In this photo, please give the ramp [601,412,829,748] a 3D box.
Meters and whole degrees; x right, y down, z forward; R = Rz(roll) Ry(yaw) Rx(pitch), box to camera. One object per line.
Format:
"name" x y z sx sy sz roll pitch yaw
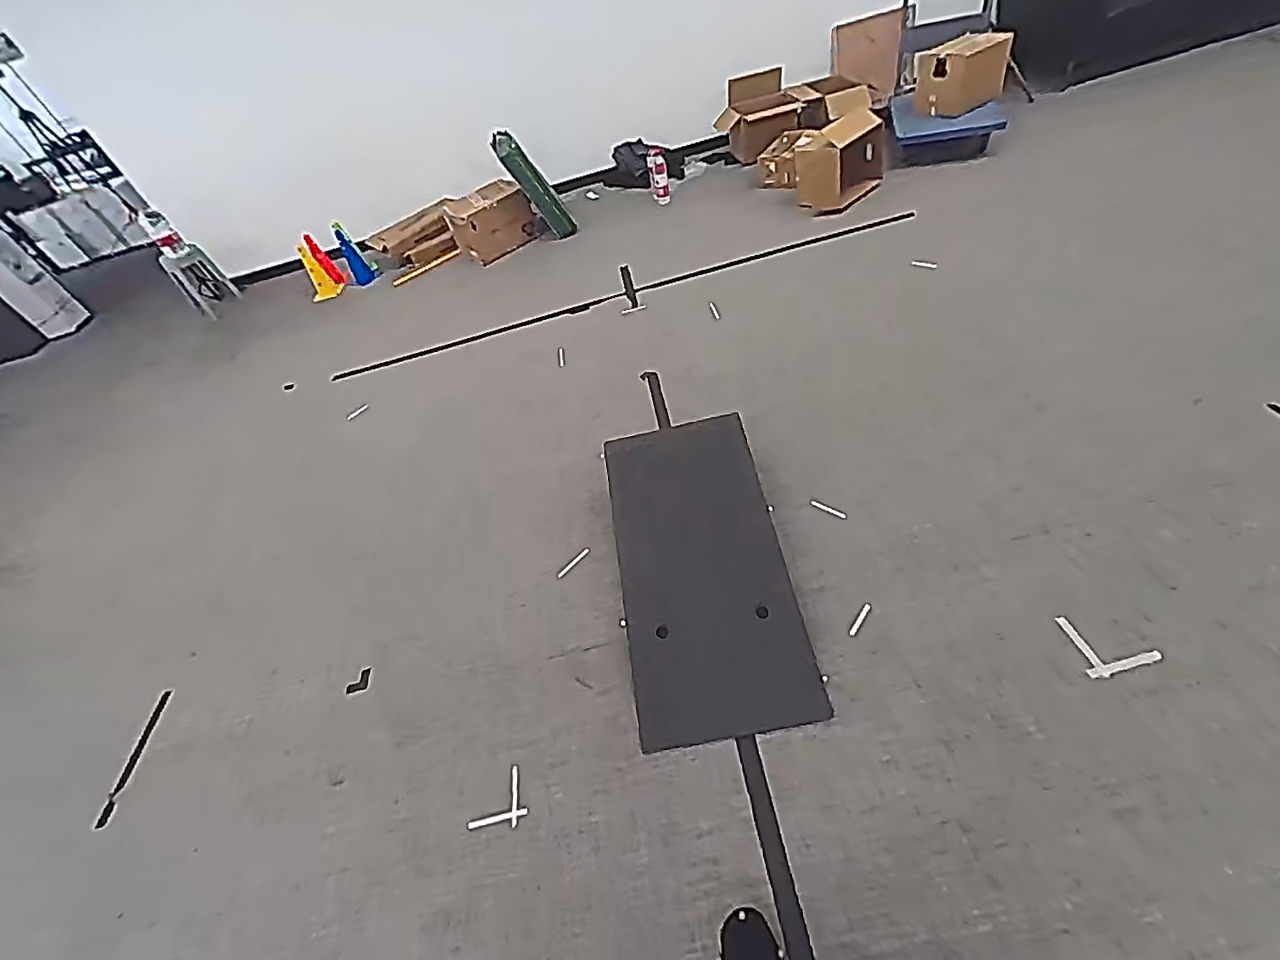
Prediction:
"ramp" 0.171 0.227 1.637 0.509 0.206 0.991 -14 46 3
